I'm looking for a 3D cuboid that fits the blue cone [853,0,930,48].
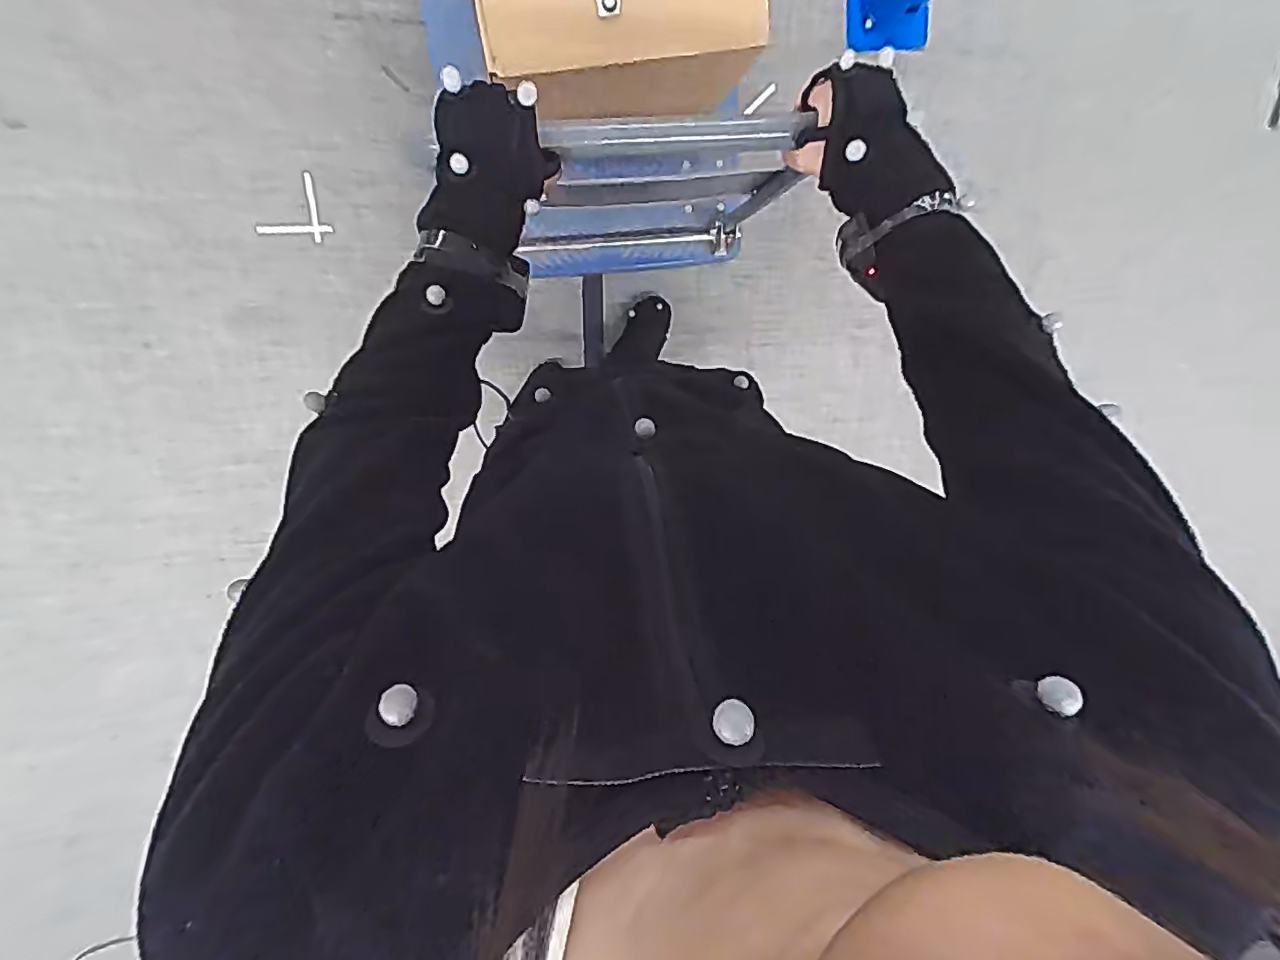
[{"bbox_3d":[0.595,-1.046,1.068,0.193,0.380,0.192,-7,107,-8],"label":"blue cone"}]
